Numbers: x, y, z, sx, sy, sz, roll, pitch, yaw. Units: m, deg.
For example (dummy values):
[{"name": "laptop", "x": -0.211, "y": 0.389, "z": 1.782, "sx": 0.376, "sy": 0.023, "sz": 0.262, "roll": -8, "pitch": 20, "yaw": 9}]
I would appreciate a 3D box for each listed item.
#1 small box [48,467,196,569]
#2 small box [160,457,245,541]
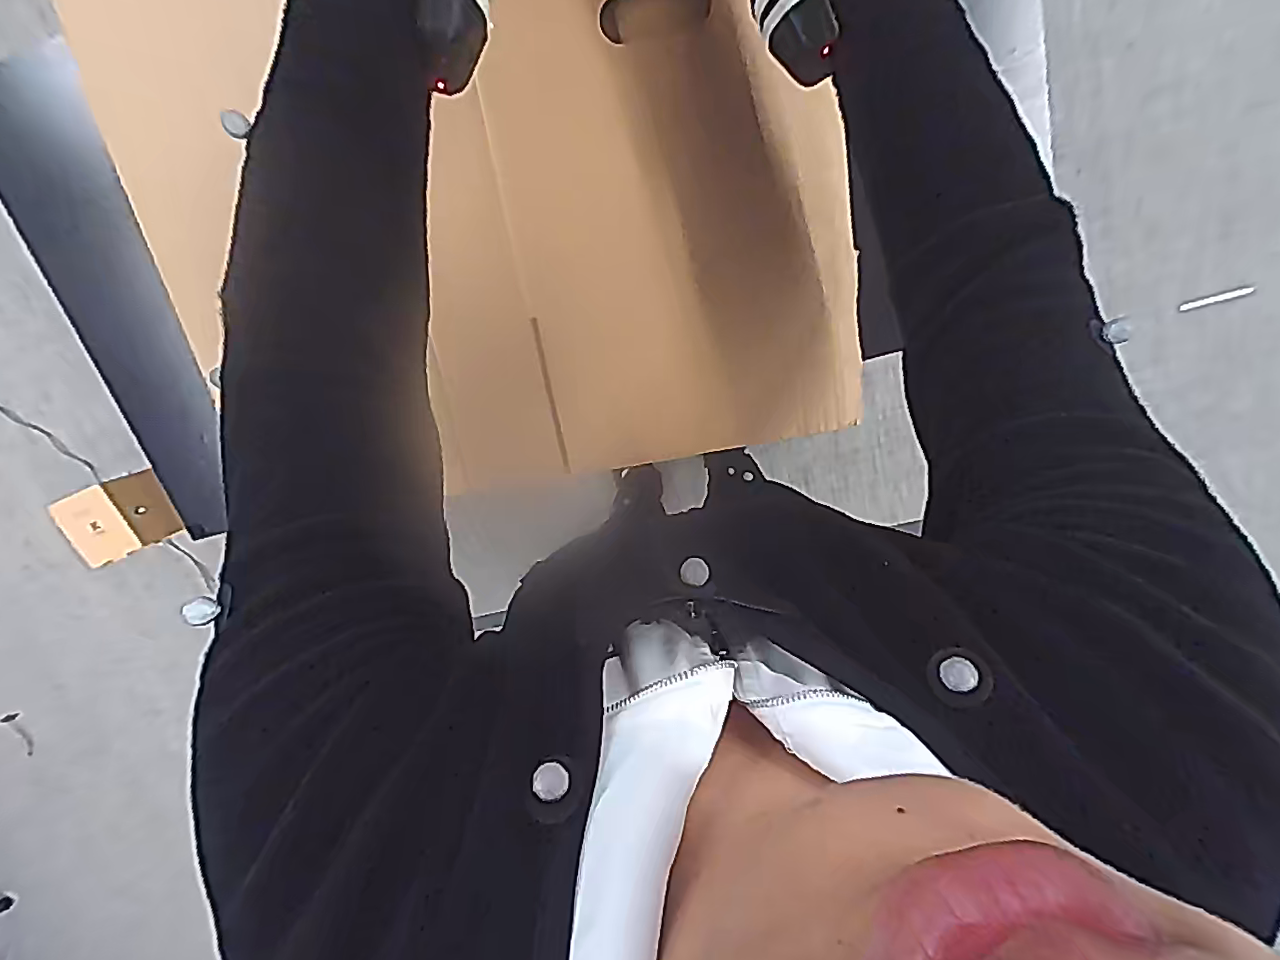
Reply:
[{"name": "small box", "x": -1.282, "y": 0.090, "z": 1.354, "sx": 0.168, "sy": 0.176, "sz": 0.179, "roll": -22, "pitch": 104, "yaw": 9}, {"name": "small box", "x": -1.268, "y": 0.046, "z": 1.510, "sx": 0.168, "sy": 0.176, "sz": 0.179, "roll": -18, "pitch": 106, "yaw": 9}]
